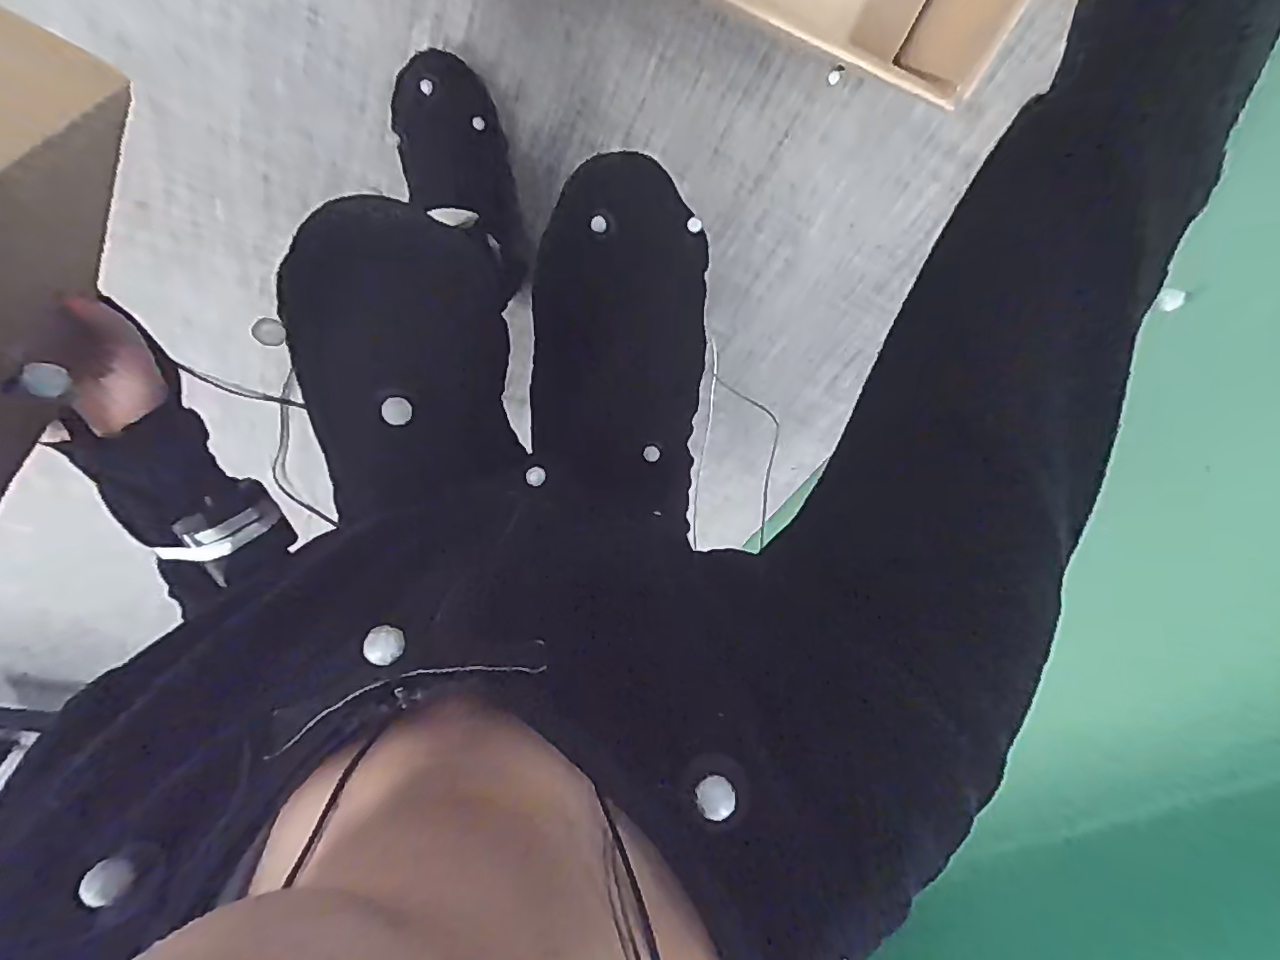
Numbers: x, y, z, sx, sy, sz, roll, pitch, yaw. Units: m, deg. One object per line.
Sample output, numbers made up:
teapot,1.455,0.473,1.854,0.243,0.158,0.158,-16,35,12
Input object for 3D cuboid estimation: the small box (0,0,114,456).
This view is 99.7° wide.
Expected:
small box,-0.304,-0.086,0.165,0.168,0.176,0.179,18,123,-40
